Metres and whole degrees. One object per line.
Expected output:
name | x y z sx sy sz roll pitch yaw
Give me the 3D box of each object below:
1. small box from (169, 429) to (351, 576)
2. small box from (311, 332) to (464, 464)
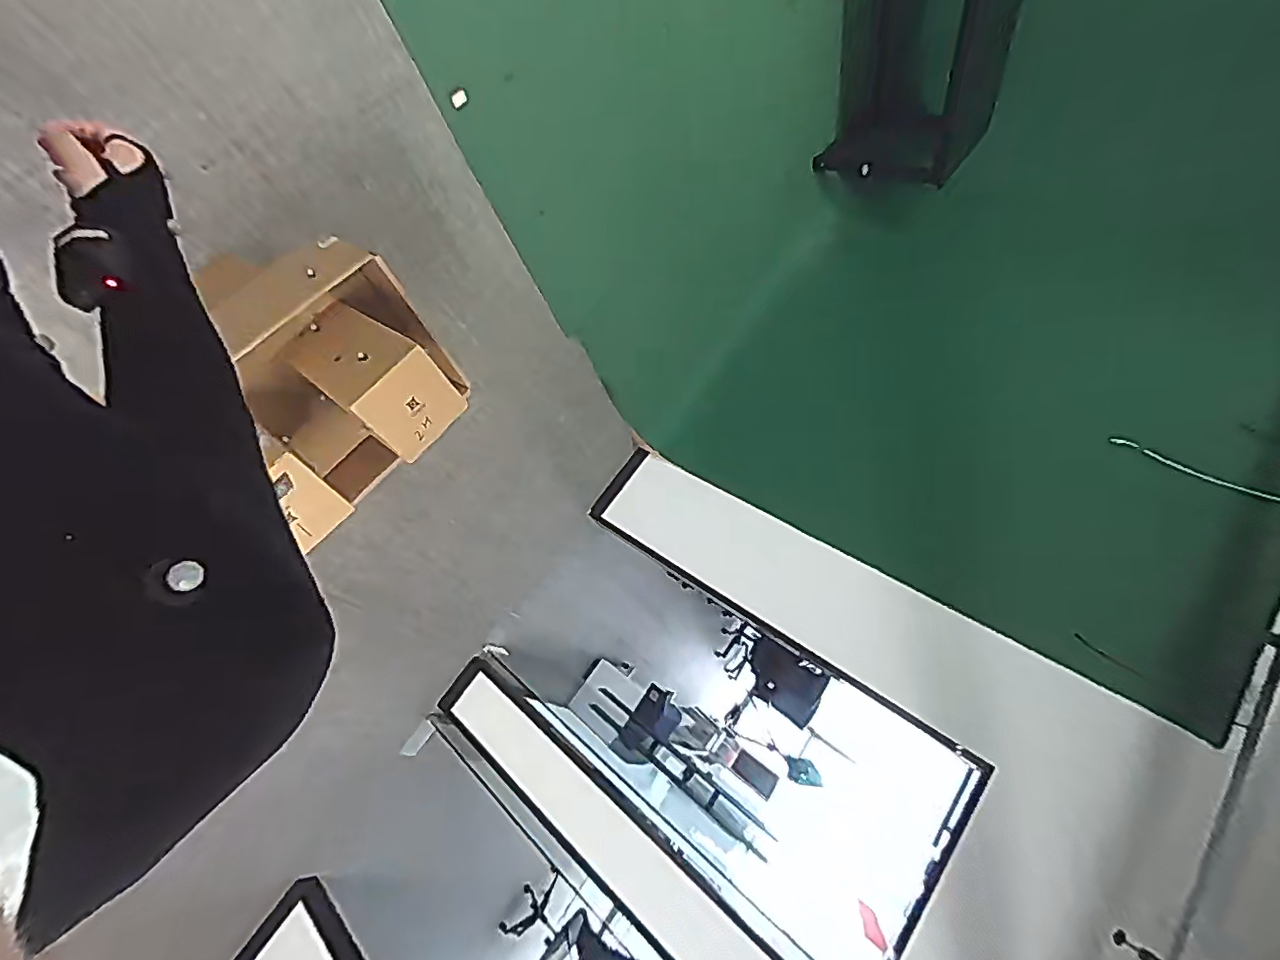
small box | -0.668 0.032 0.954 0.168 0.176 0.179 -49 148 -21
small box | -0.489 -0.166 1.050 0.168 0.176 0.179 -50 147 -17
